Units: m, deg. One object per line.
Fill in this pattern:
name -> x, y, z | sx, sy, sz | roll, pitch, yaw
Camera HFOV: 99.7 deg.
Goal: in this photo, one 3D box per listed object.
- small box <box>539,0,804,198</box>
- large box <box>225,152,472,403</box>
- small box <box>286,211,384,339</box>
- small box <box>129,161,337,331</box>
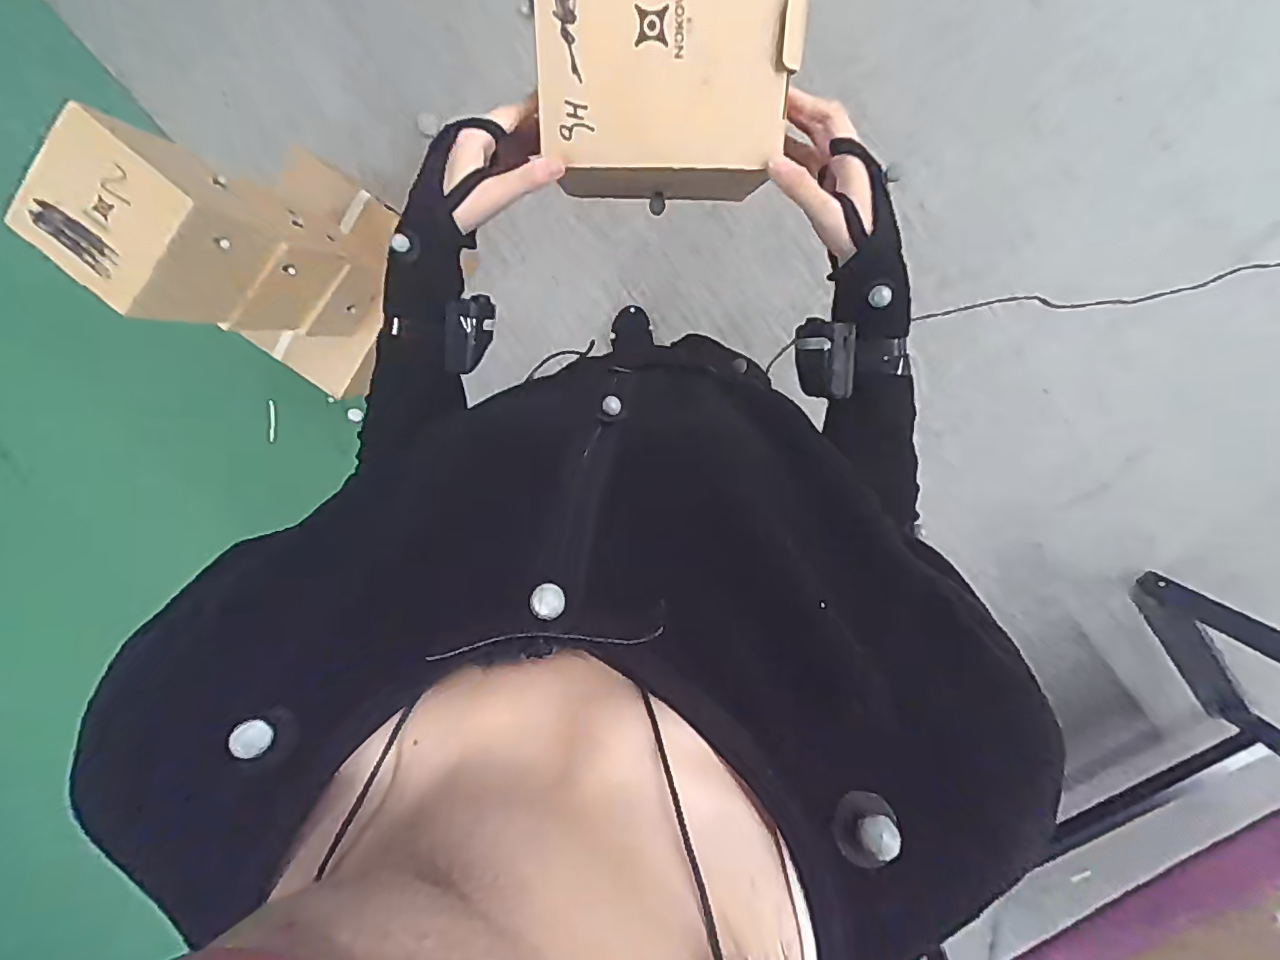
small box -> 0.018, -0.329, 0.429 | 0.179, 0.176, 0.168 | 1, 110, -2
large box -> -0.663, -0.447, 1.267 | 0.320, 0.320, 0.408 | 36, 103, -6
small box -> -0.629, -0.389, 1.027 | 0.179, 0.176, 0.168 | 41, 101, -9
small box -> -0.635, -0.357, 0.868 | 0.168, 0.176, 0.179 | 42, 101, -9
